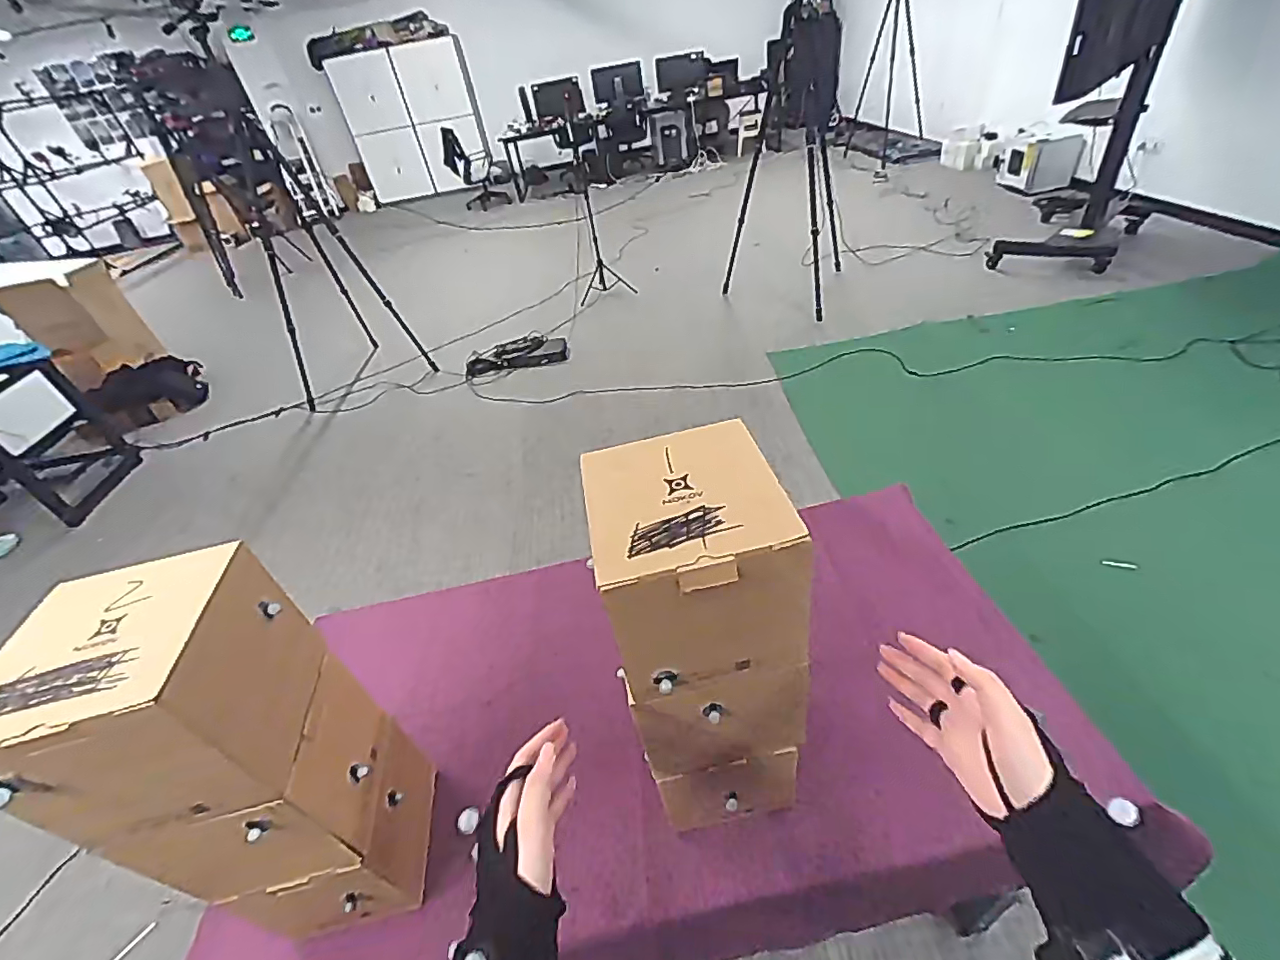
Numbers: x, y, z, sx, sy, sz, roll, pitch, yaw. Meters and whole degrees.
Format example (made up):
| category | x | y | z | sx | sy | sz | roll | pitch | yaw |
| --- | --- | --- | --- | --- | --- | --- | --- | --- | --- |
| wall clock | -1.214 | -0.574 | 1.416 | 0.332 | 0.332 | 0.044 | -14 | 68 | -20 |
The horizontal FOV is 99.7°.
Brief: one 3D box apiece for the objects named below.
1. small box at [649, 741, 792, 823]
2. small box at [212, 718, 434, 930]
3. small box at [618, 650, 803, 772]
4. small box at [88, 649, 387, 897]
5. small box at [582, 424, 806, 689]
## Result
| category | x | y | z | sx | sy | sz | roll | pitch | yaw |
| --- | --- | --- | --- | --- | --- | --- | --- | --- | --- |
| small box | 0.094 | 0.330 | 0.721 | 0.168 | 0.176 | 0.179 | -12 | 40 | -1 |
| small box | -0.382 | 0.444 | 0.695 | 0.168 | 0.176 | 0.179 | -12 | 38 | -3 |
| small box | 0.072 | 0.205 | 0.616 | 0.179 | 0.176 | 0.168 | -12 | 40 | -2 |
| small box | -0.410 | 0.321 | 0.593 | 0.179 | 0.176 | 0.168 | -13 | 39 | -5 |
| small box | 0.048 | 0.076 | 0.516 | 0.168 | 0.176 | 0.179 | -13 | 38 | -2 |
